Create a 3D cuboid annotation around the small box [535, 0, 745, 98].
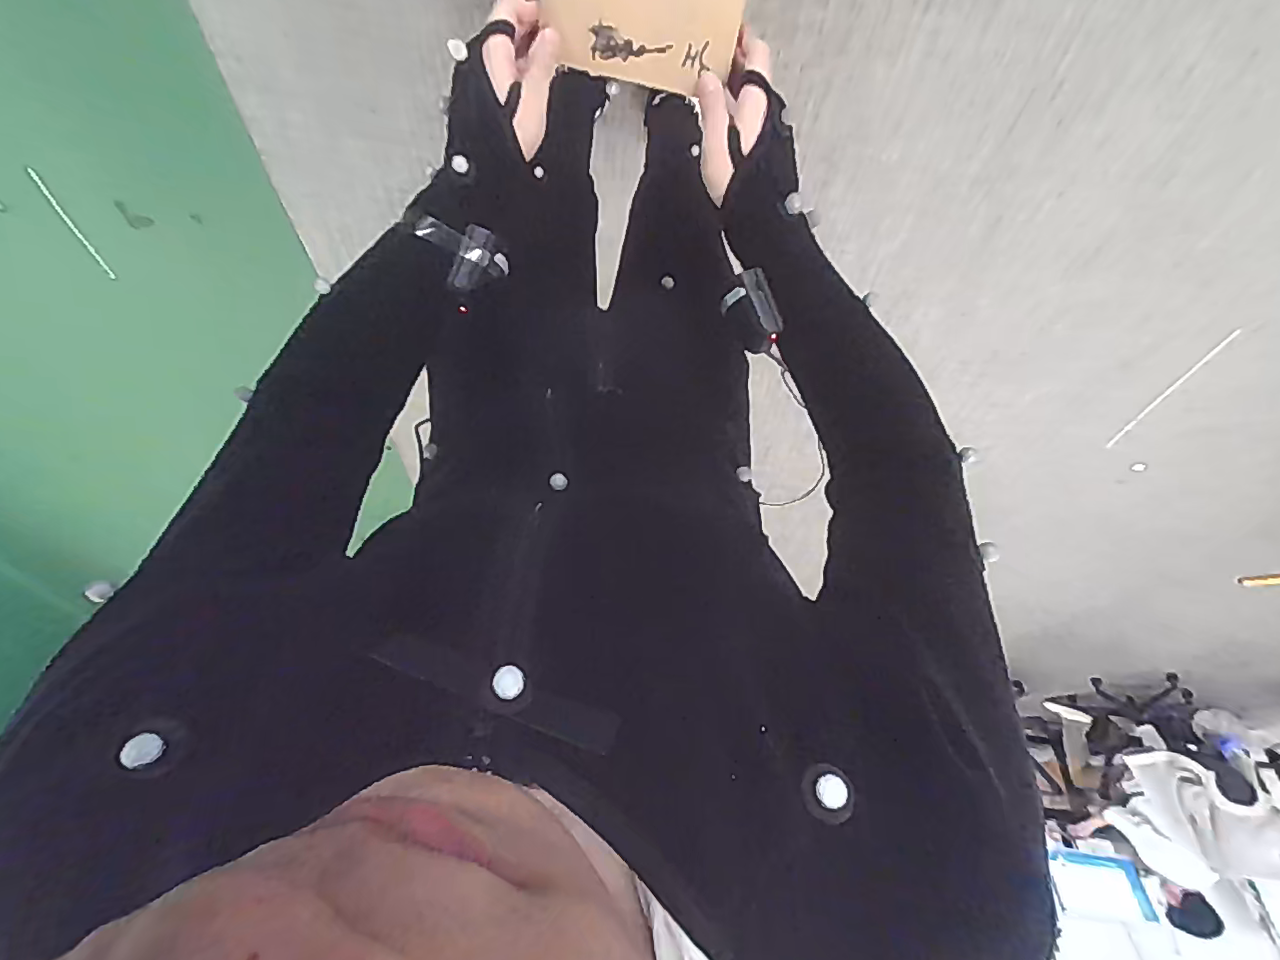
[{"bbox_3d":[0.016,-0.458,0.469,0.168,0.176,0.179,13,129,-1],"label":"small box"}]
